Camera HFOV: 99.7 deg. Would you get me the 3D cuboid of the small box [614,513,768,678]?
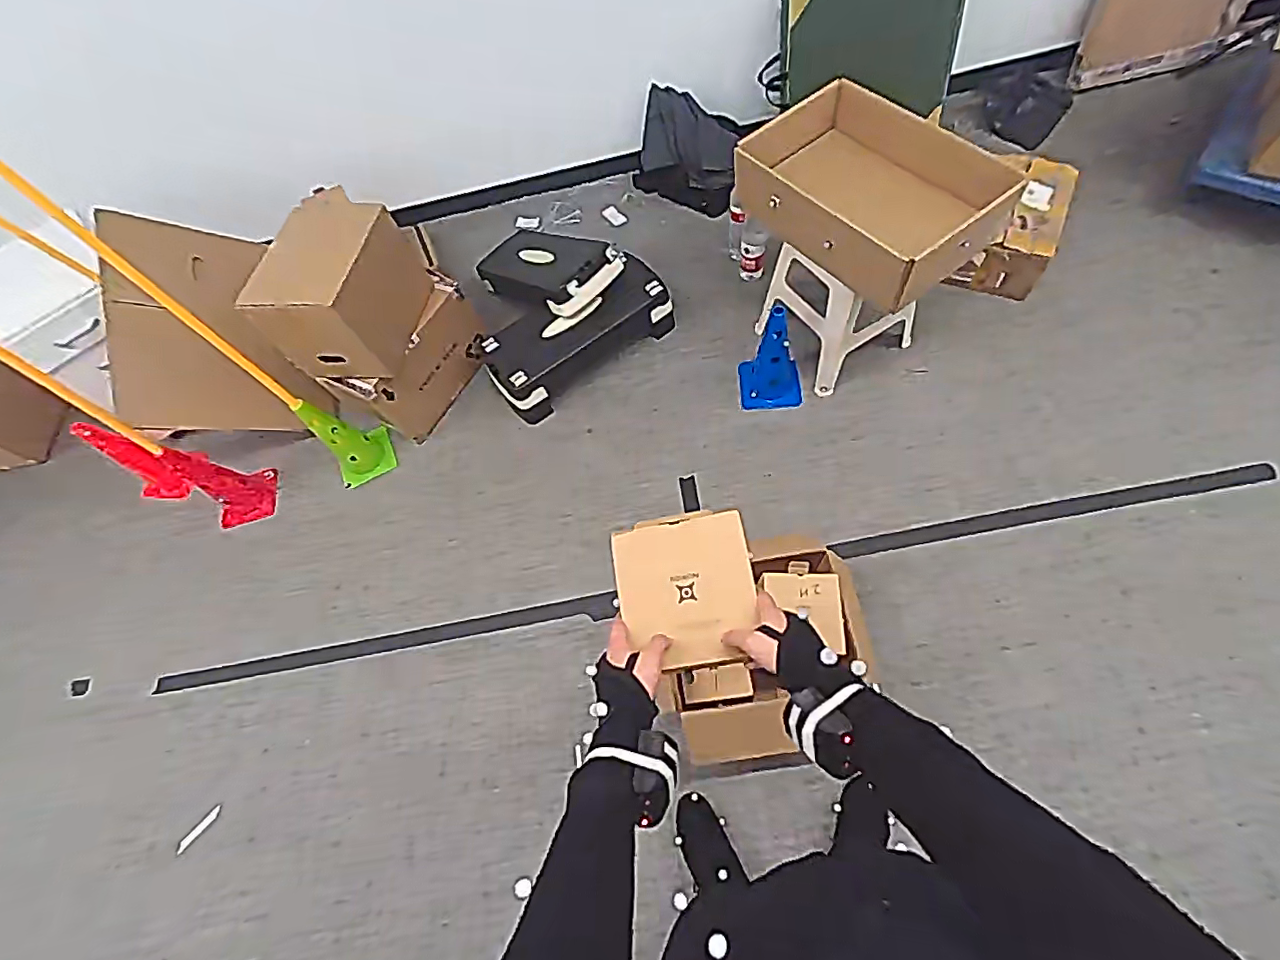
[{"bbox_3d":[0.065,0.162,0.730,0.168,0.176,0.179,-10,68,3],"label":"small box"}]
